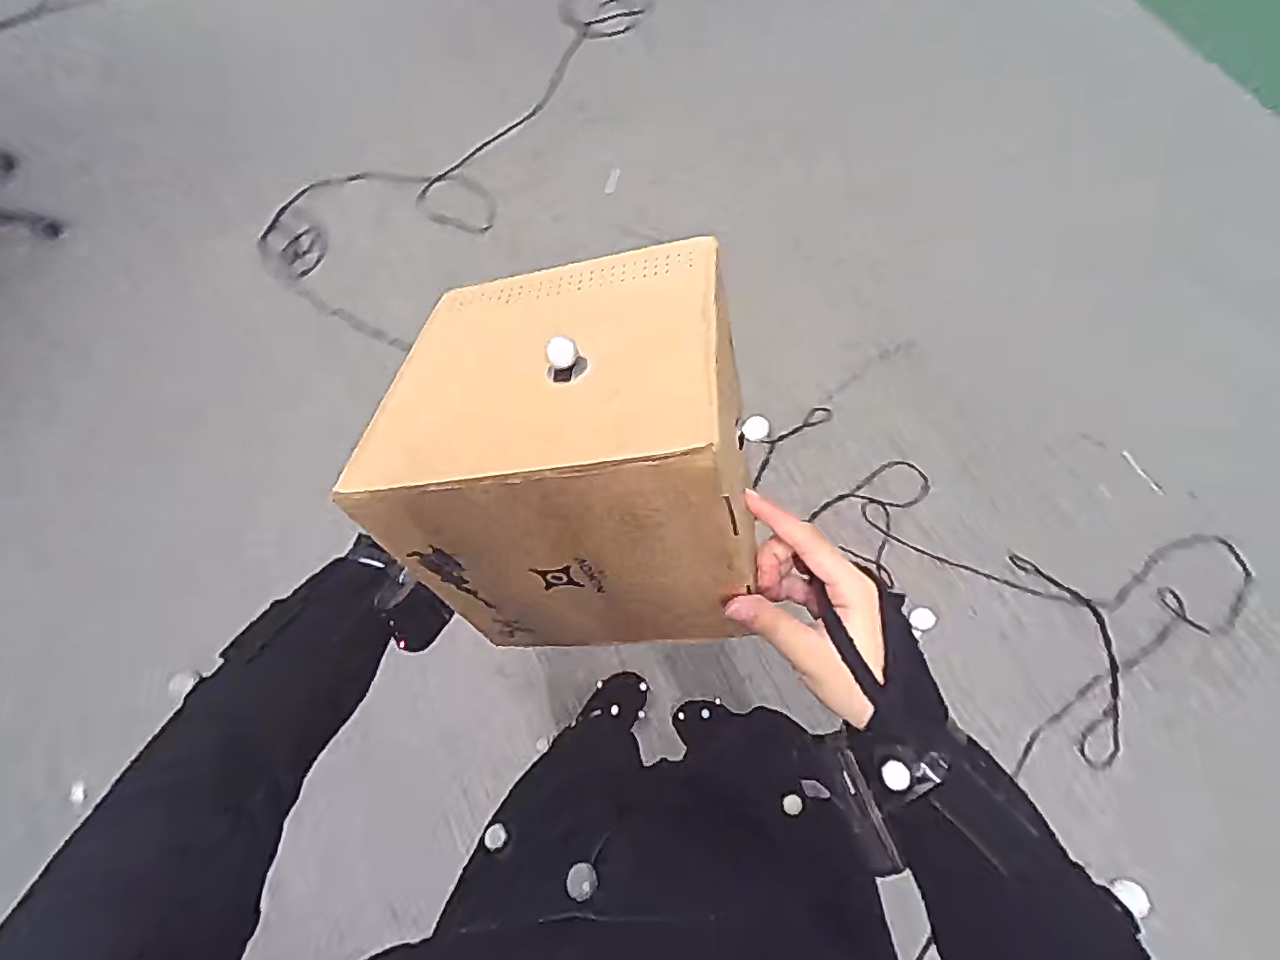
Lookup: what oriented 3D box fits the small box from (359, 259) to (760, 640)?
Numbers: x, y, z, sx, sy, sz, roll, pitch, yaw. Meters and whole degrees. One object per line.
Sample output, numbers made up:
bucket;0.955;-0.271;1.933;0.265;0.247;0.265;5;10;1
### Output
small box;-0.025;-0.015;0.341;0.179;0.168;0.176;-6;48;14
